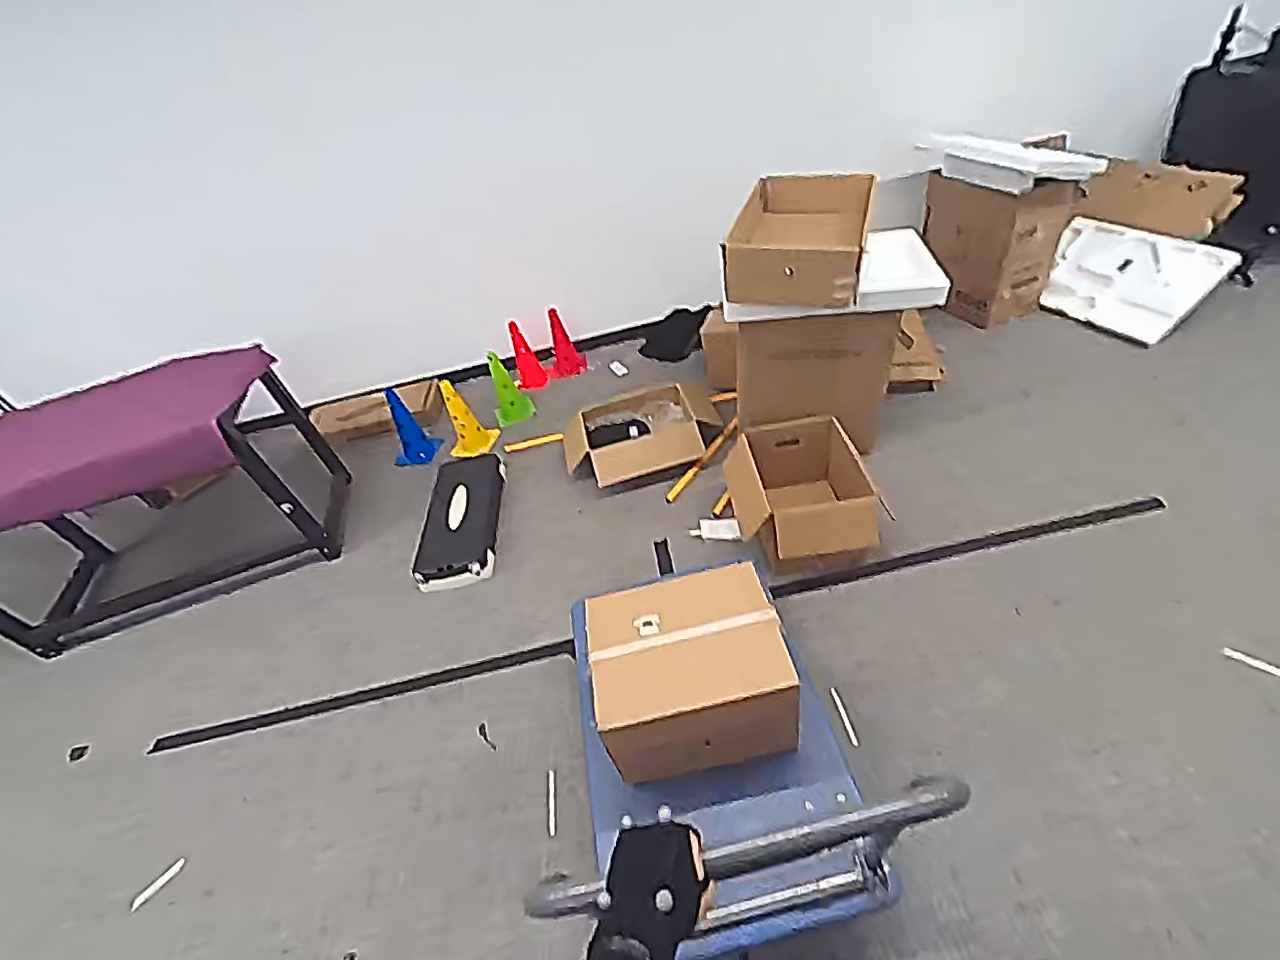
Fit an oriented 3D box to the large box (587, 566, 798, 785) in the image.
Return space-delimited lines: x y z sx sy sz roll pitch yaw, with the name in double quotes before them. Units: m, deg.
"large box" 0.121 0.456 1.261 0.408 0.320 0.320 -15 40 1
